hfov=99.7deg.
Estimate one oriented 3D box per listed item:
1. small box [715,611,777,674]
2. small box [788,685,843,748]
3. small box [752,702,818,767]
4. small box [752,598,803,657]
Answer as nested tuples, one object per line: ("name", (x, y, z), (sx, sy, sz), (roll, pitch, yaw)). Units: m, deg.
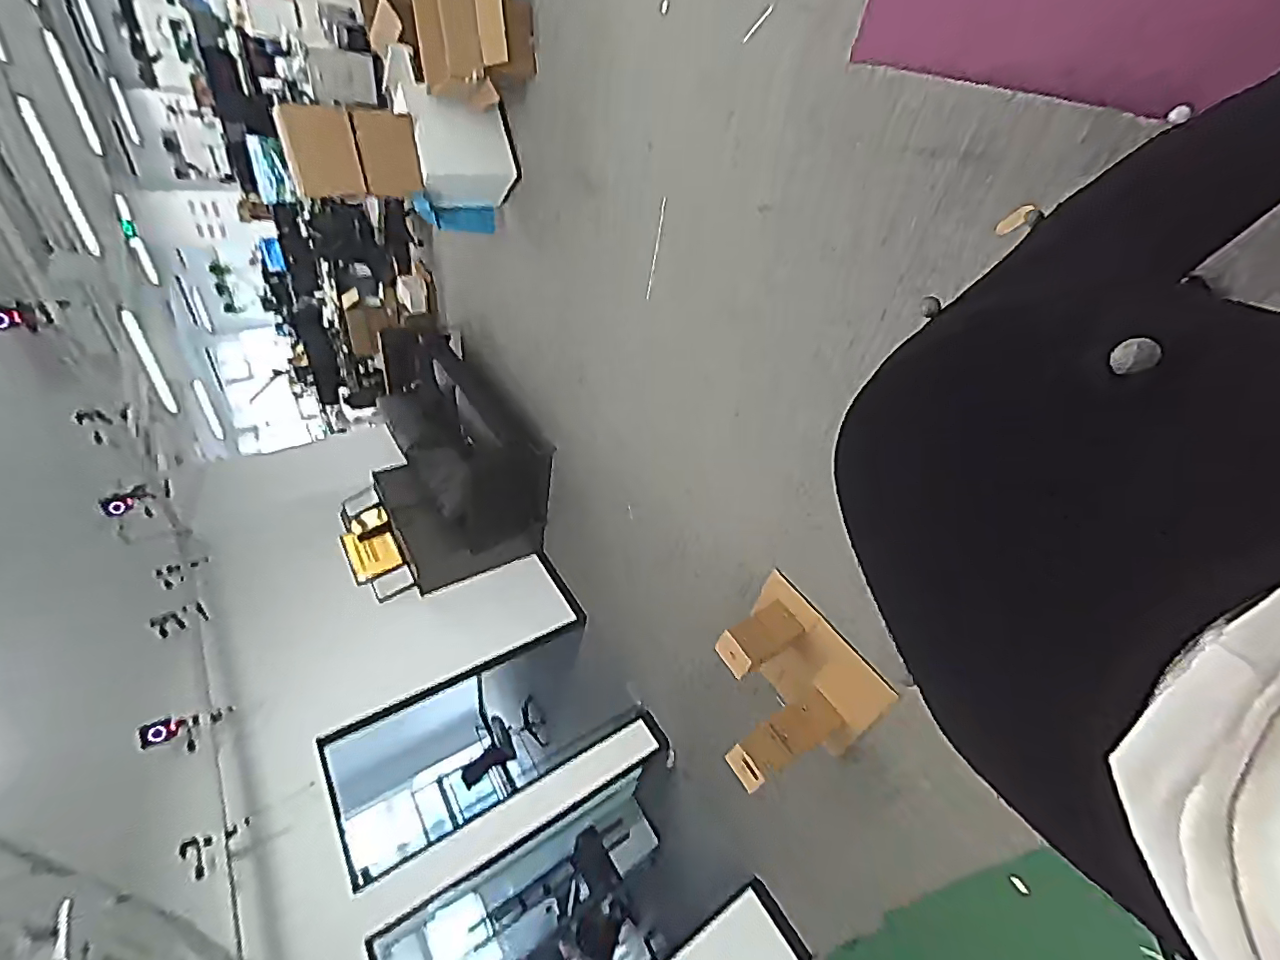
("small box", (0.465, 0.706, 2.356), (0.179, 0.176, 0.168), (52, 144, 29))
("small box", (0.755, 1.037, 2.392), (0.179, 0.176, 0.168), (49, 143, 32))
("small box", (0.620, 1.078, 2.312), (0.179, 0.176, 0.168), (48, 142, 32))
("small box", (0.598, 0.657, 2.439), (0.179, 0.176, 0.168), (50, 144, 31))
